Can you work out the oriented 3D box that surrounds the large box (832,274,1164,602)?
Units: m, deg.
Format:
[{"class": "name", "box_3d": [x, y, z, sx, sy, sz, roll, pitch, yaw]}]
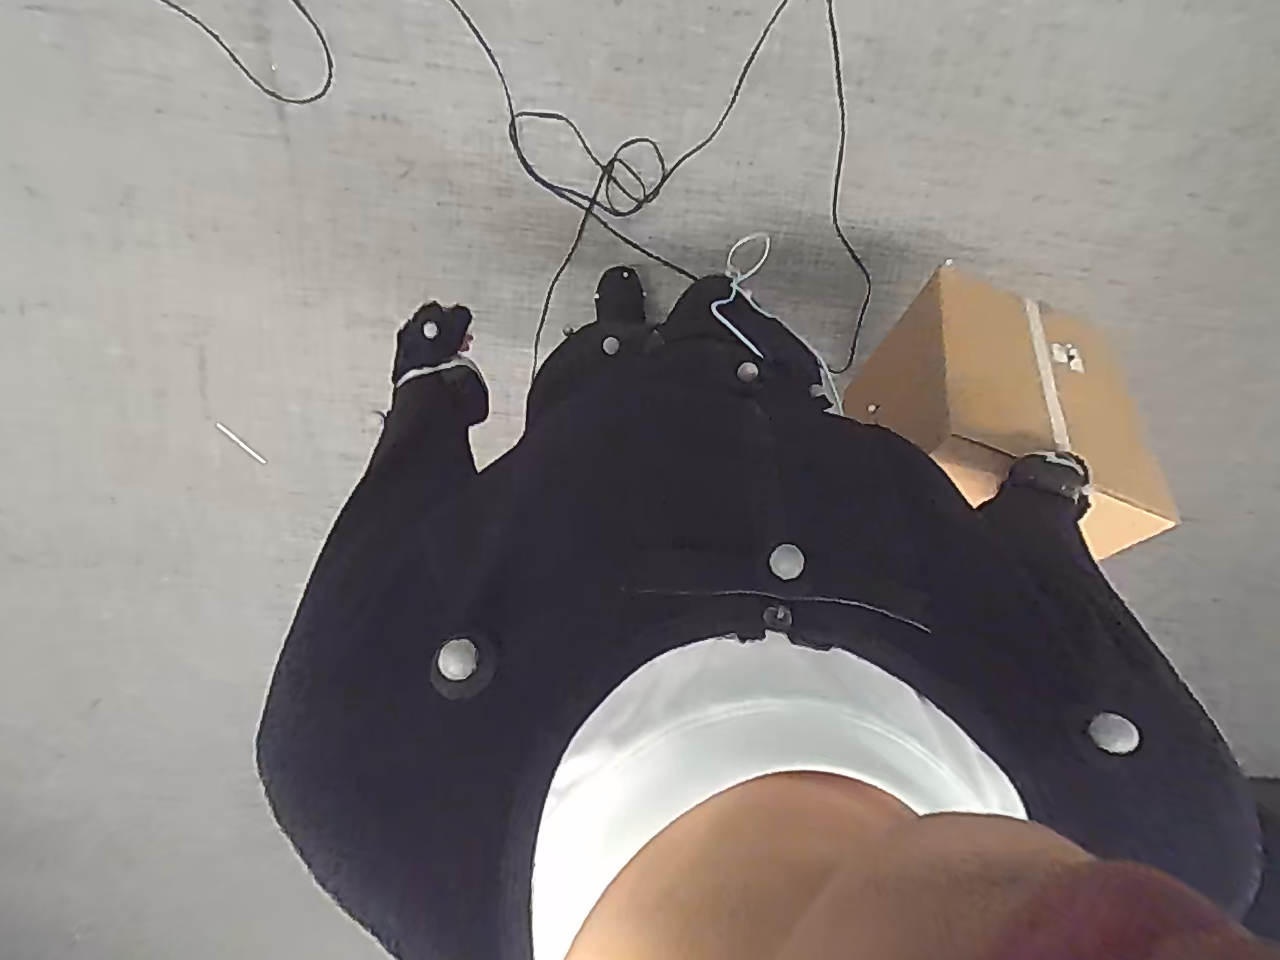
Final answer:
[{"class": "large box", "box_3d": [0.553, -0.067, 0.924, 0.320, 0.408, 0.320, 21, 144, -1]}]
